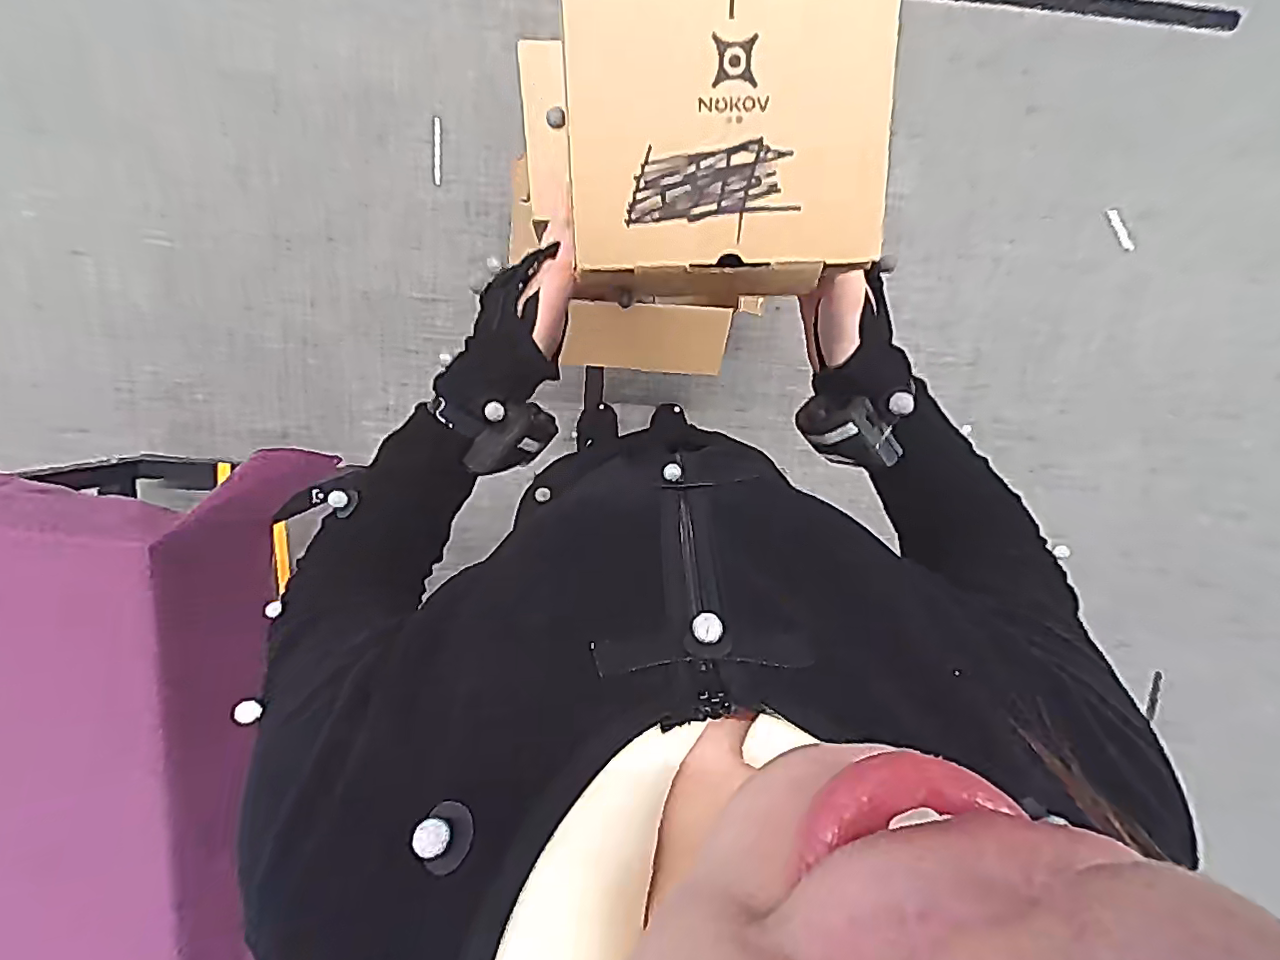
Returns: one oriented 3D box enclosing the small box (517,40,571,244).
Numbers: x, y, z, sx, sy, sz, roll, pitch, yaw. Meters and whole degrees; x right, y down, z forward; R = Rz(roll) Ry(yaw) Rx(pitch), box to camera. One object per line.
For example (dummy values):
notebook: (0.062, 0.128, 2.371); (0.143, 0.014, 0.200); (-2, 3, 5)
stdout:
small box: (-0.053, -0.393, 0.662); (0.168, 0.176, 0.179); (-4, 103, -7)

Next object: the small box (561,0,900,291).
small box: (0.040, -0.216, 0.346); (0.168, 0.176, 0.179); (-2, 105, -3)
